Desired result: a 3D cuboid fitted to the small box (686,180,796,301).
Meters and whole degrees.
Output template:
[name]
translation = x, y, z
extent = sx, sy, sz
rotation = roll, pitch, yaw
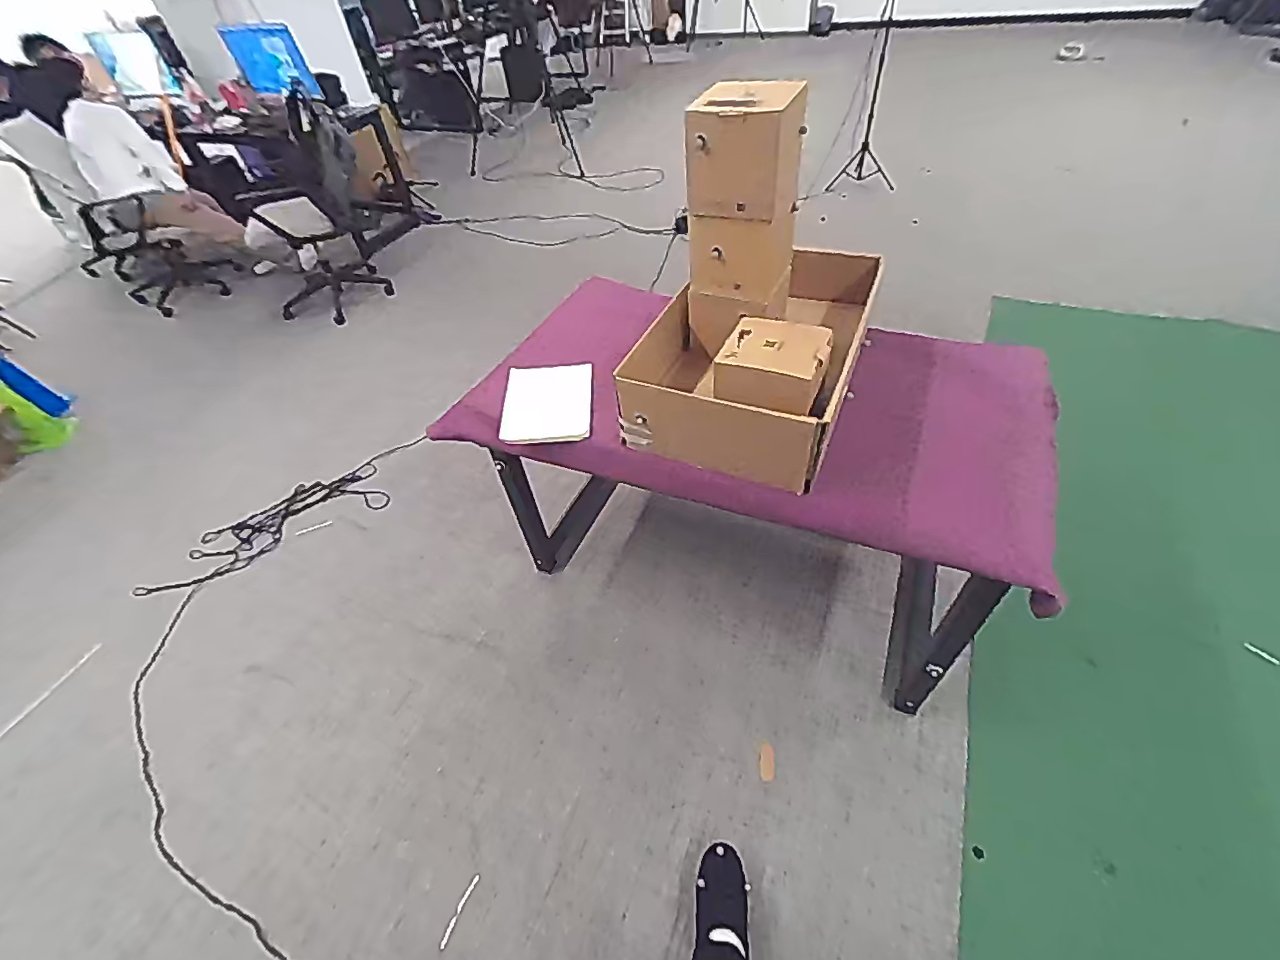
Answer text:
[small box]
translation = 0.208, -0.488, 1.103
extent = 0.168, 0.176, 0.179
rotation = 18, 53, 22
